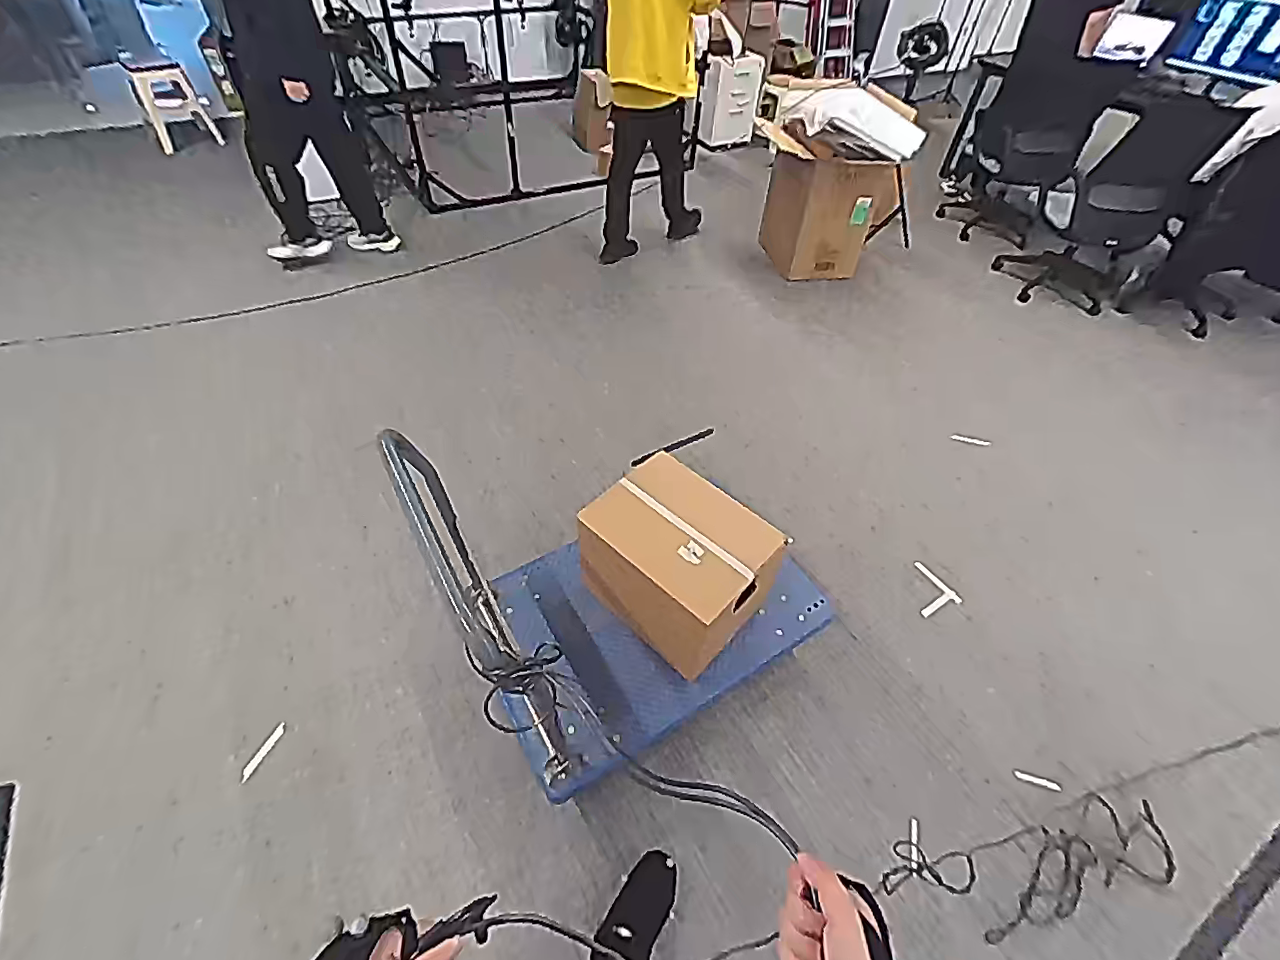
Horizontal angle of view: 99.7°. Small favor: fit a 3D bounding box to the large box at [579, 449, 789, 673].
[{"bbox_3d":[0.092,0.199,1.371,0.408,0.320,0.320,37,57,24],"label":"large box"}]
